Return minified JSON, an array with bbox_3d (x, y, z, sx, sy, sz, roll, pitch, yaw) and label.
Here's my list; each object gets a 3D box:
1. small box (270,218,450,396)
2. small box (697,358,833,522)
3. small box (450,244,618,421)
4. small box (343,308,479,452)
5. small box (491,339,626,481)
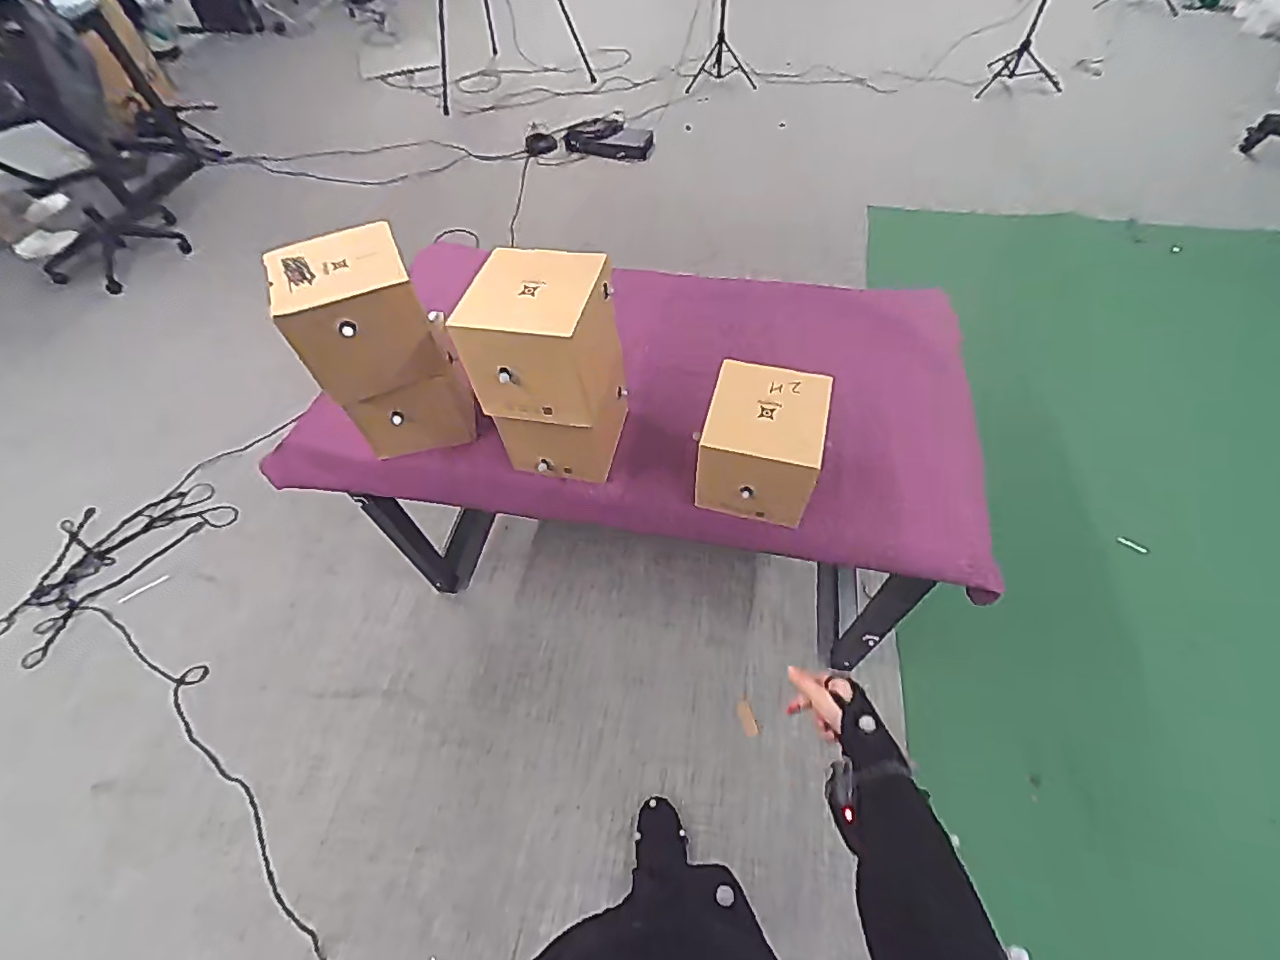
[{"bbox_3d":[-0.408,-0.251,0.802,0.179,0.176,0.168,-21,57,-13],"label":"small box"},{"bbox_3d":[0.188,-0.058,0.838,0.168,0.176,0.179,13,58,11],"label":"small box"},{"bbox_3d":[-0.132,-0.204,0.761,0.168,0.176,0.179,8,55,10],"label":"small box"},{"bbox_3d":[-0.396,-0.169,0.946,0.179,0.176,0.168,-12,56,-5],"label":"small box"},{"bbox_3d":[-0.122,-0.125,0.903,0.168,0.176,0.179,9,56,10],"label":"small box"}]
